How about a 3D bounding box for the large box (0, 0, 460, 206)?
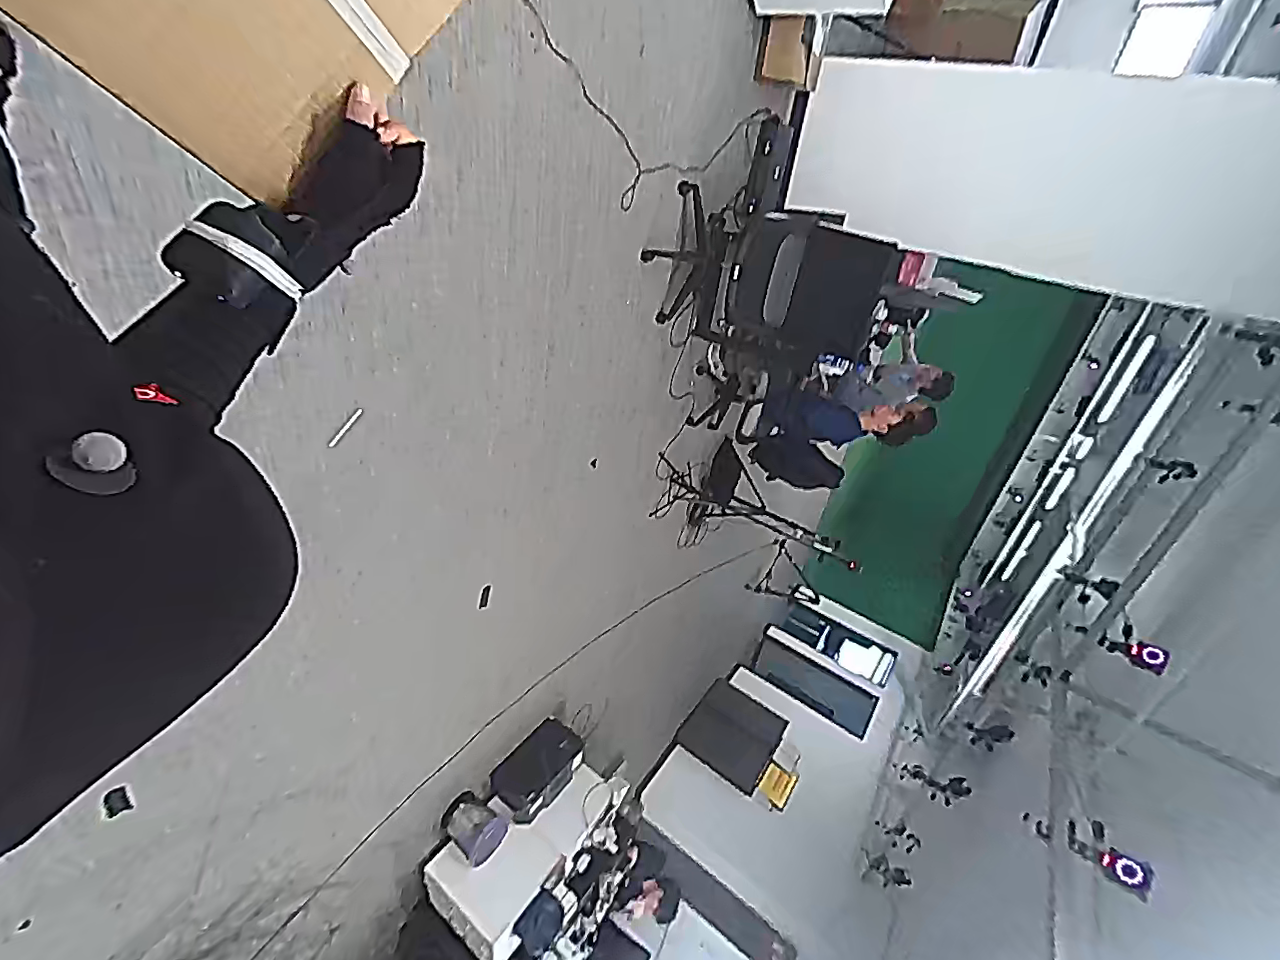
[{"bbox_3d":[-0.376,-0.485,0.349,0.320,0.320,0.408,-49,152,1],"label":"large box"}]
